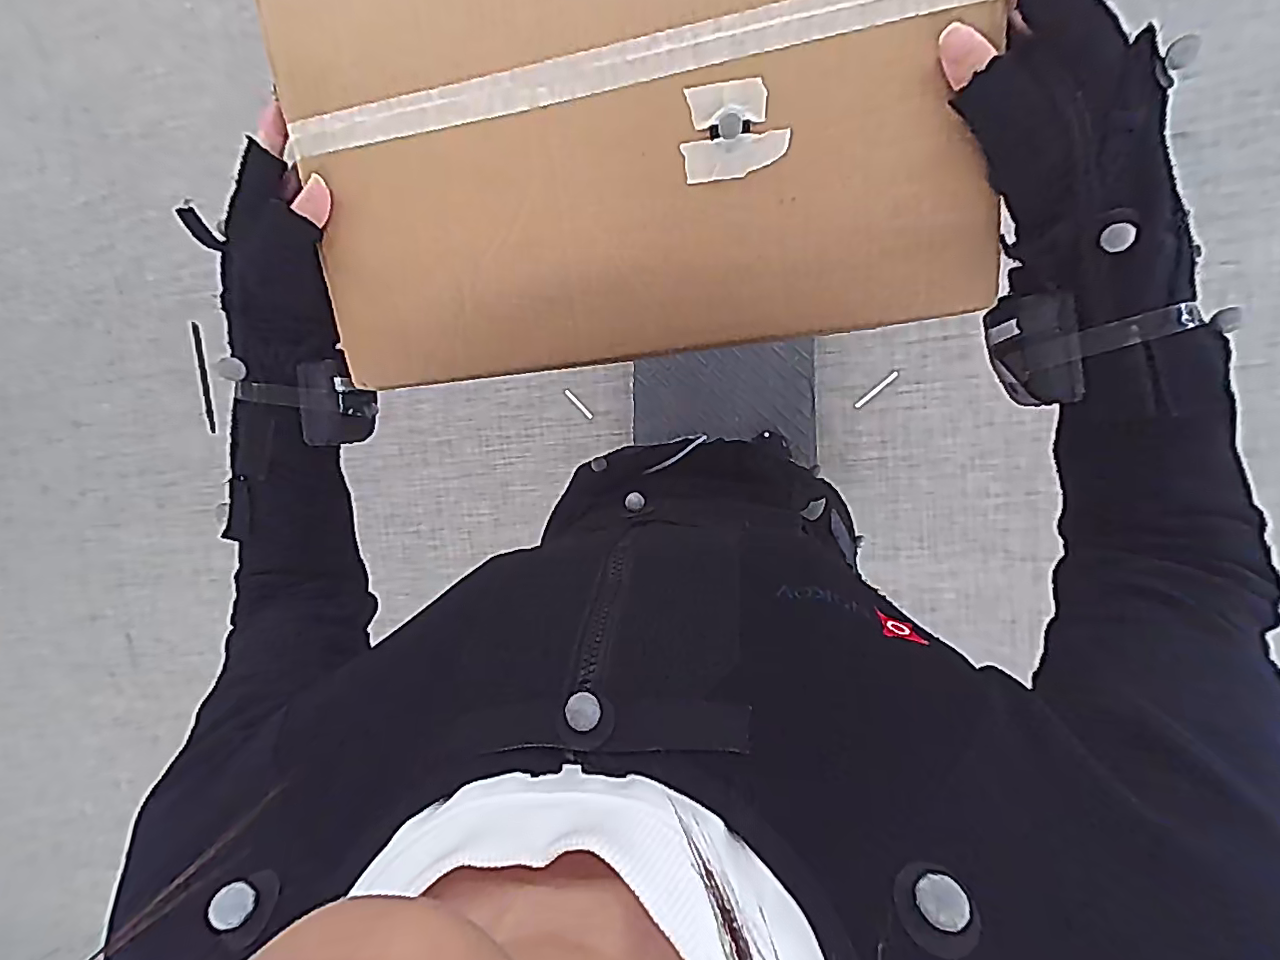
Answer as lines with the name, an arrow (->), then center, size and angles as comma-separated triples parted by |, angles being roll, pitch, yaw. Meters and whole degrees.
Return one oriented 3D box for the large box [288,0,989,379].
large box -> 0.007, -0.274, 0.459 | 0.408, 0.320, 0.320 | -6, 104, 10
